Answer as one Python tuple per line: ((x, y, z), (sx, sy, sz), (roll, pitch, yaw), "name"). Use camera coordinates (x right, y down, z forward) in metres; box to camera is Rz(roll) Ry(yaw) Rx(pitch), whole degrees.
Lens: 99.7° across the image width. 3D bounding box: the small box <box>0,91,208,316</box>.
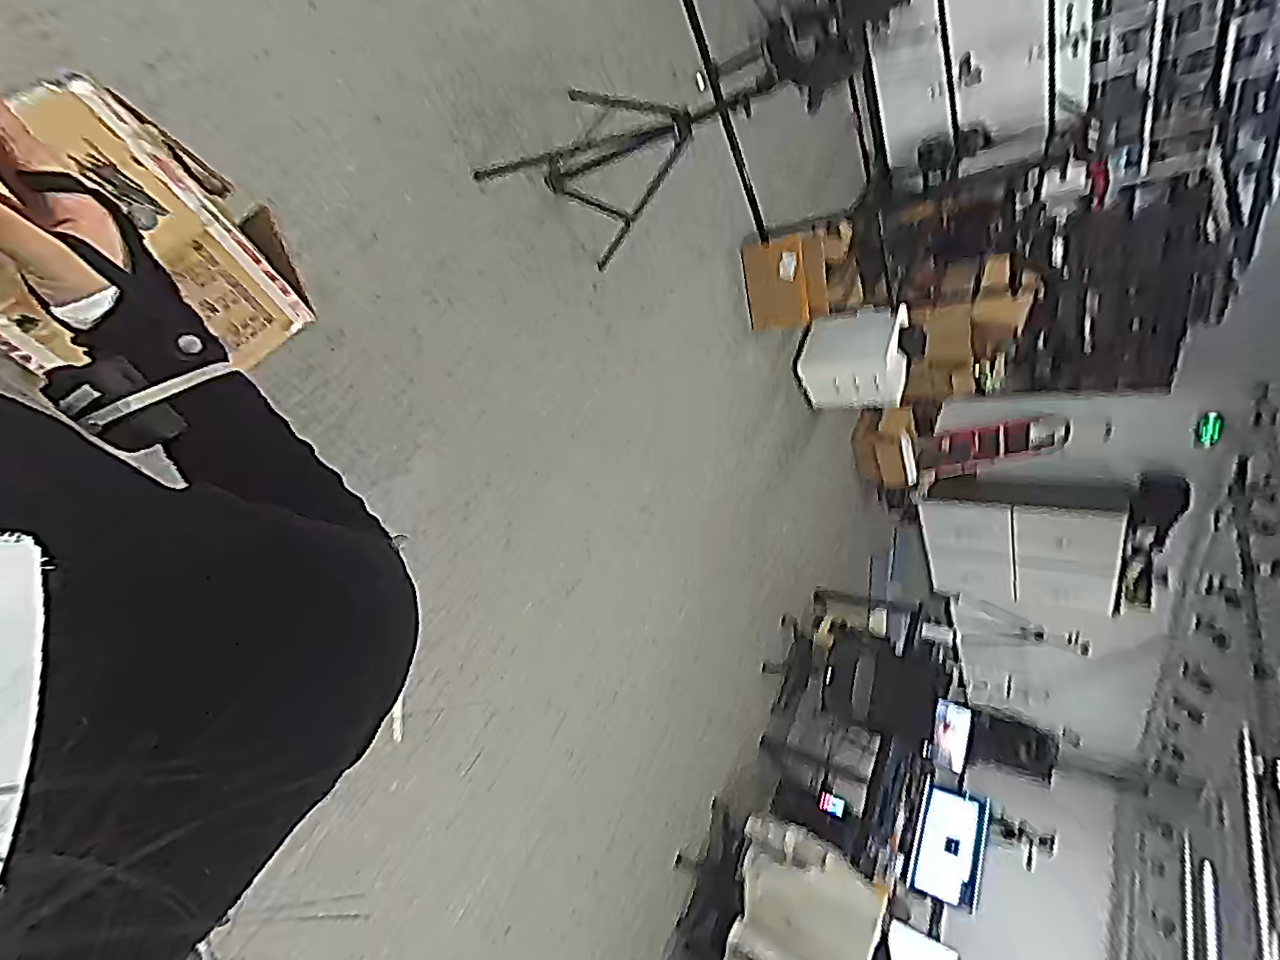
((-0.689, -0.322, 0.658), (0.179, 0.176, 0.168), (-56, 131, -27), "small box")
